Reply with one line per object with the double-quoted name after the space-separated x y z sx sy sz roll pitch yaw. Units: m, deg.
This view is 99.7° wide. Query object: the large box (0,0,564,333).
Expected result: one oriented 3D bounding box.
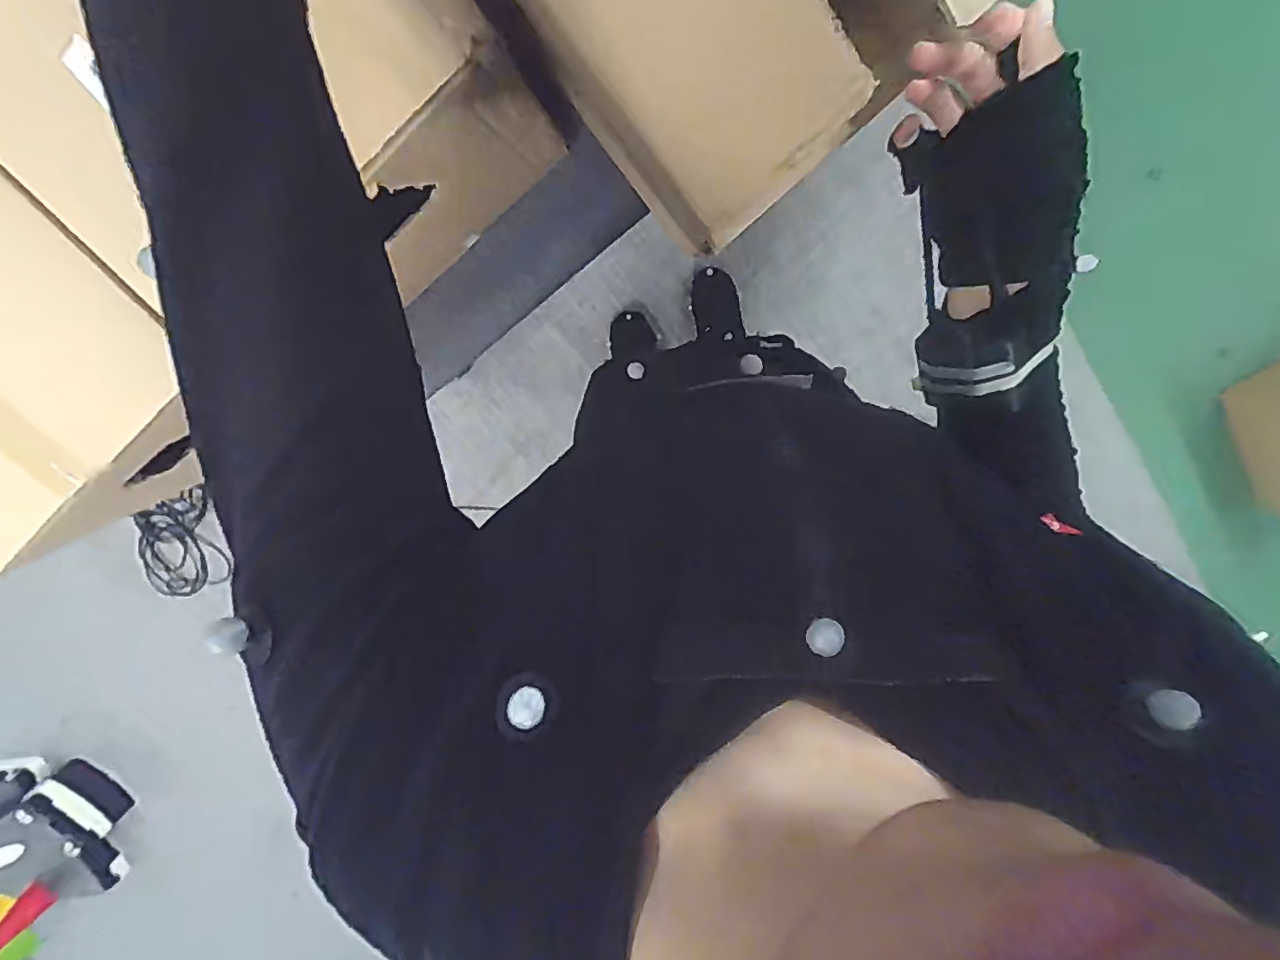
-0.324 -0.392 0.454 0.320 0.320 0.408 -36 107 15 "large box"
